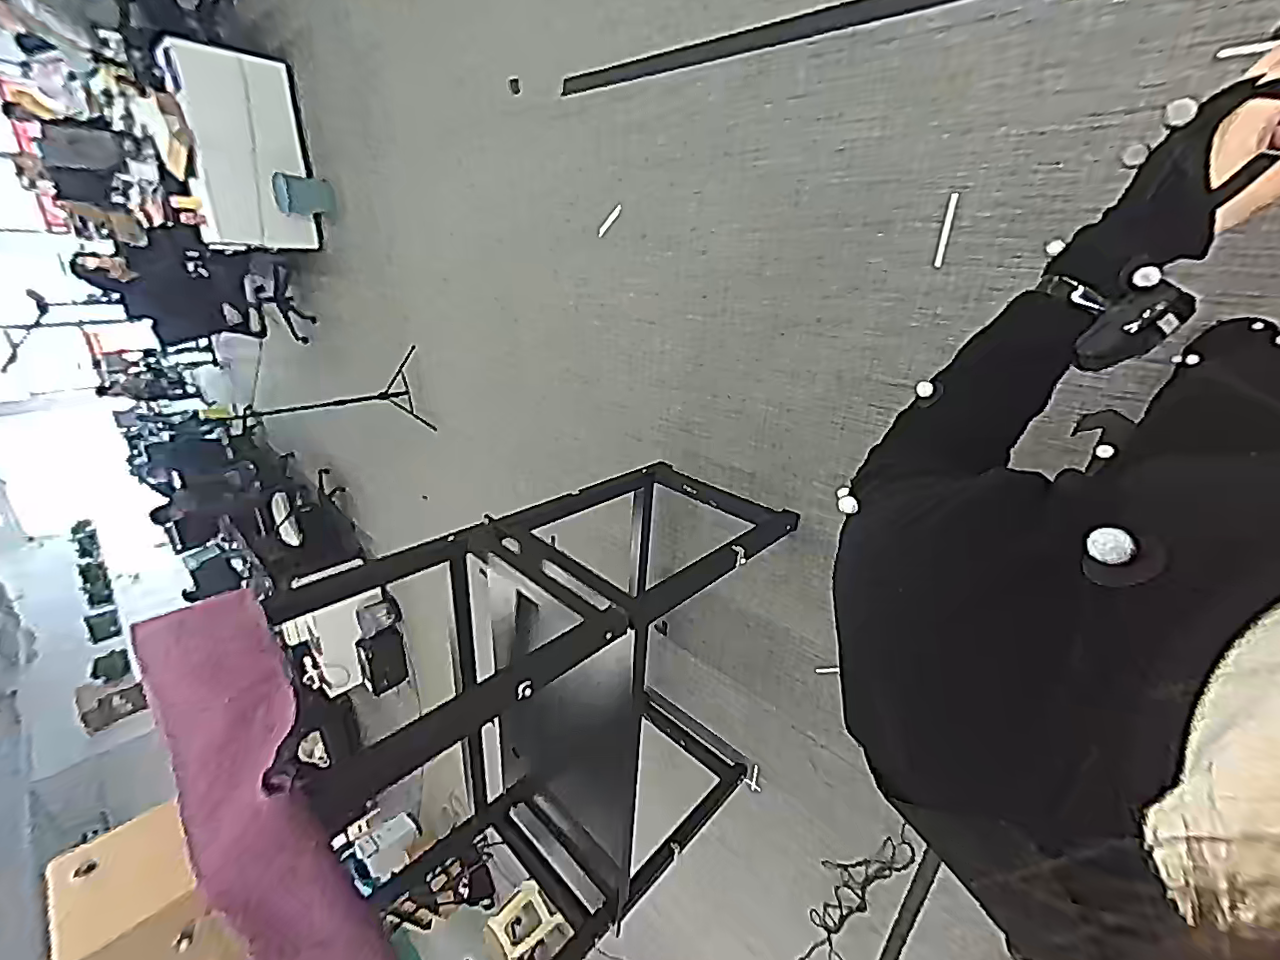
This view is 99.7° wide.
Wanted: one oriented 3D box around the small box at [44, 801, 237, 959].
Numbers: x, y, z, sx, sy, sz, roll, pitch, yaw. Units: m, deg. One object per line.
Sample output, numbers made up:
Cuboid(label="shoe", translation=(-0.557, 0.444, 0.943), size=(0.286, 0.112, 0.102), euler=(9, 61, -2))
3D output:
Cuboid(label="small box", translation=(-0.730, 0.619, 0.802), size=(0.179, 0.176, 0.168), euler=(28, 125, 36))
